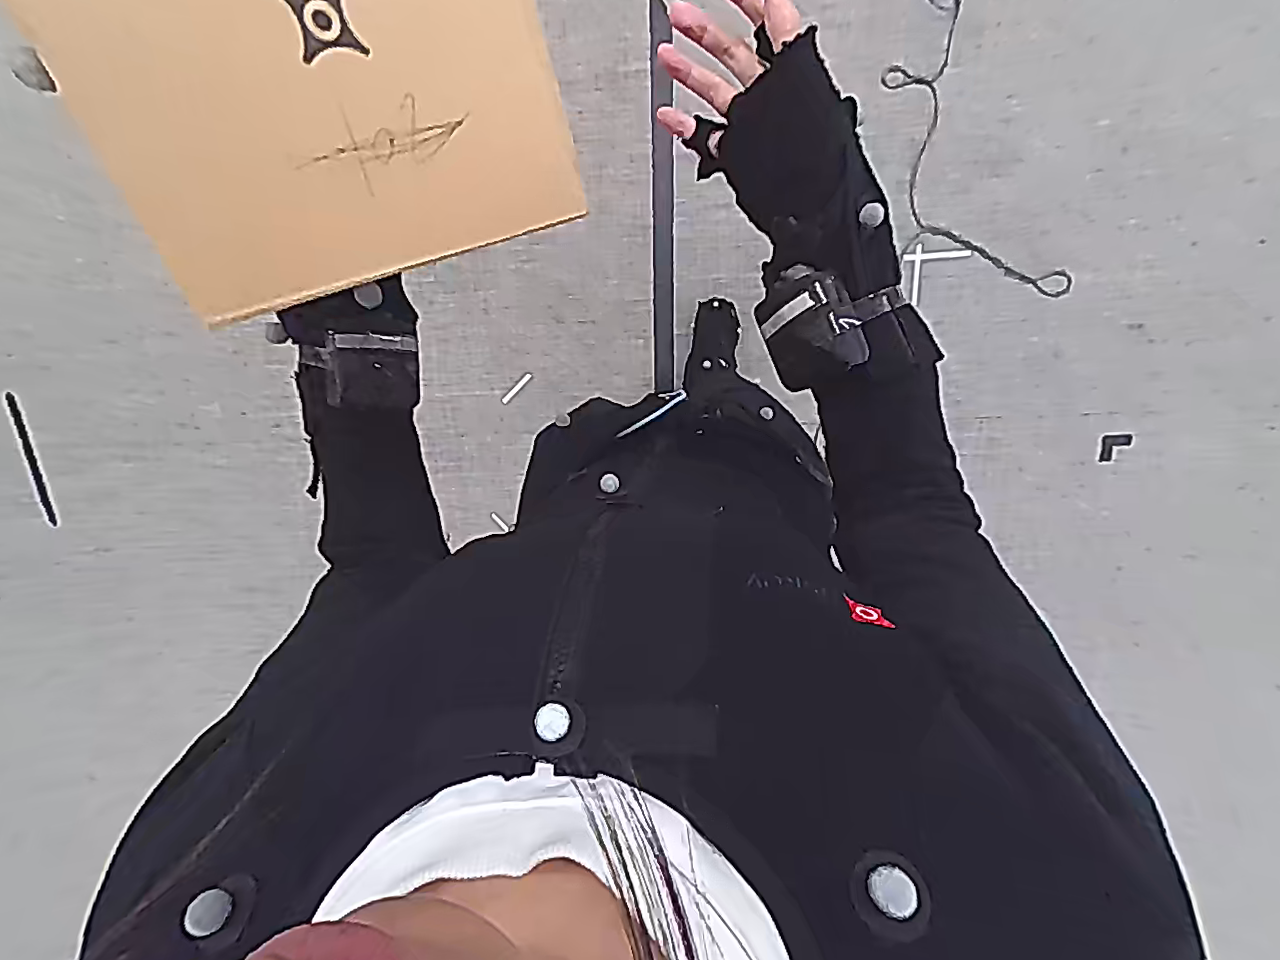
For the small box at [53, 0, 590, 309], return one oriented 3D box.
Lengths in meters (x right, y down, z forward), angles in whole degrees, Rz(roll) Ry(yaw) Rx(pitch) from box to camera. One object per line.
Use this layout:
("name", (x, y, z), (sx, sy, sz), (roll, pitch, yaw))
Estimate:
("small box", (-0.152, -0.195, 0.265), (0.168, 0.176, 0.179), (-27, 120, -21))
